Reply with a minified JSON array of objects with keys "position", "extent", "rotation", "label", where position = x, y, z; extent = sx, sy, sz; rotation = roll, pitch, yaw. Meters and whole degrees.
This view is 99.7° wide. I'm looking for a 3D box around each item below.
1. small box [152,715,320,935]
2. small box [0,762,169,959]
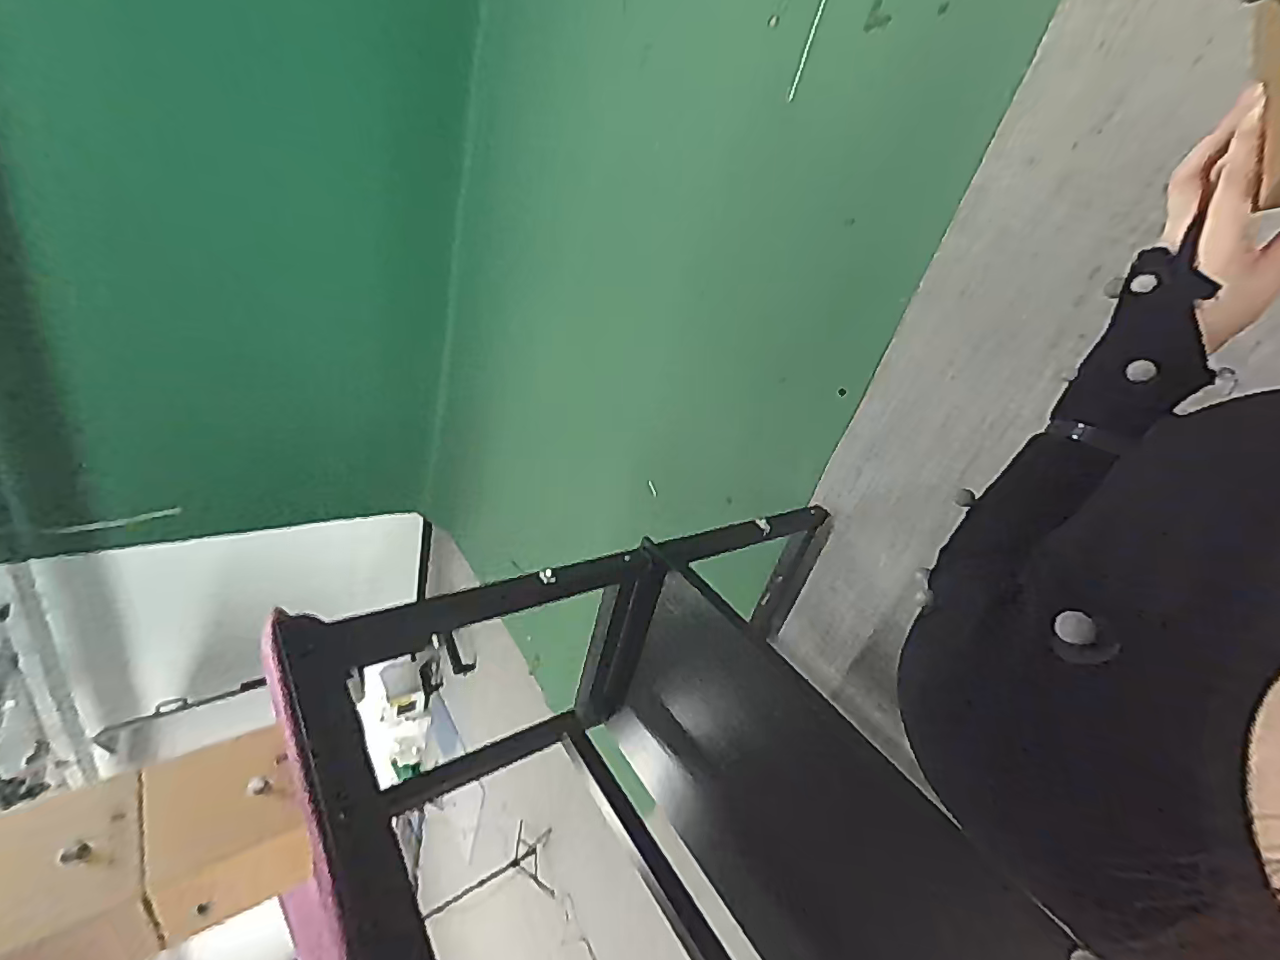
[{"position":[-0.554,0.467,0.751],"extent":[0.168,0.176,0.179],"rotation":[46,128,36],"label":"small box"},{"position":[-0.682,0.484,0.650],"extent":[0.168,0.176,0.179],"rotation":[46,129,36],"label":"small box"}]
